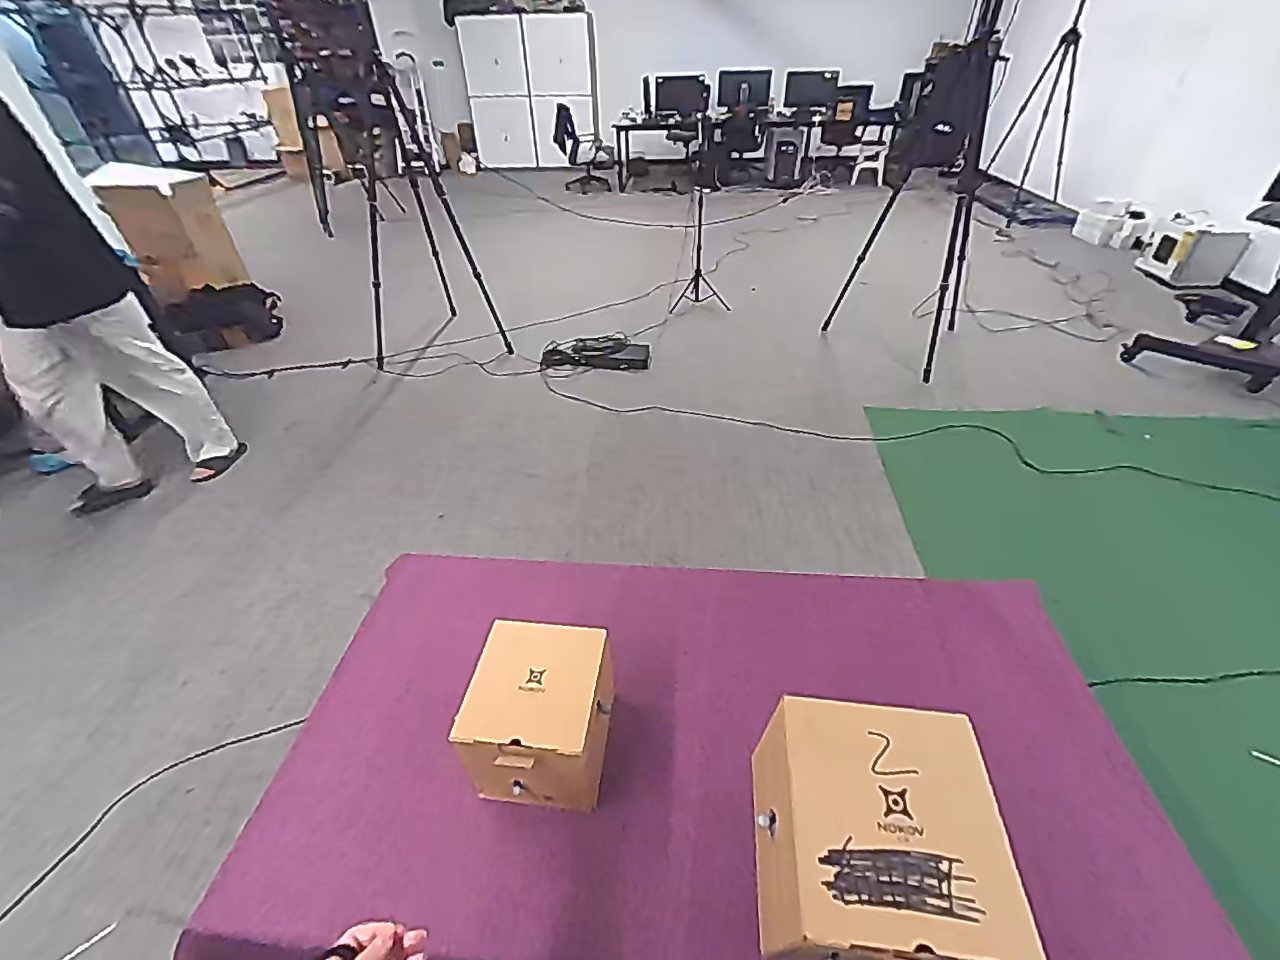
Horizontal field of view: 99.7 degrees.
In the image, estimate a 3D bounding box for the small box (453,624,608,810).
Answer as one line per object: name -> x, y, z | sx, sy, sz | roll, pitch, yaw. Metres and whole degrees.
small box -> -0.139, 0.332, 0.765 | 0.168, 0.176, 0.179 | 4, 40, 6
